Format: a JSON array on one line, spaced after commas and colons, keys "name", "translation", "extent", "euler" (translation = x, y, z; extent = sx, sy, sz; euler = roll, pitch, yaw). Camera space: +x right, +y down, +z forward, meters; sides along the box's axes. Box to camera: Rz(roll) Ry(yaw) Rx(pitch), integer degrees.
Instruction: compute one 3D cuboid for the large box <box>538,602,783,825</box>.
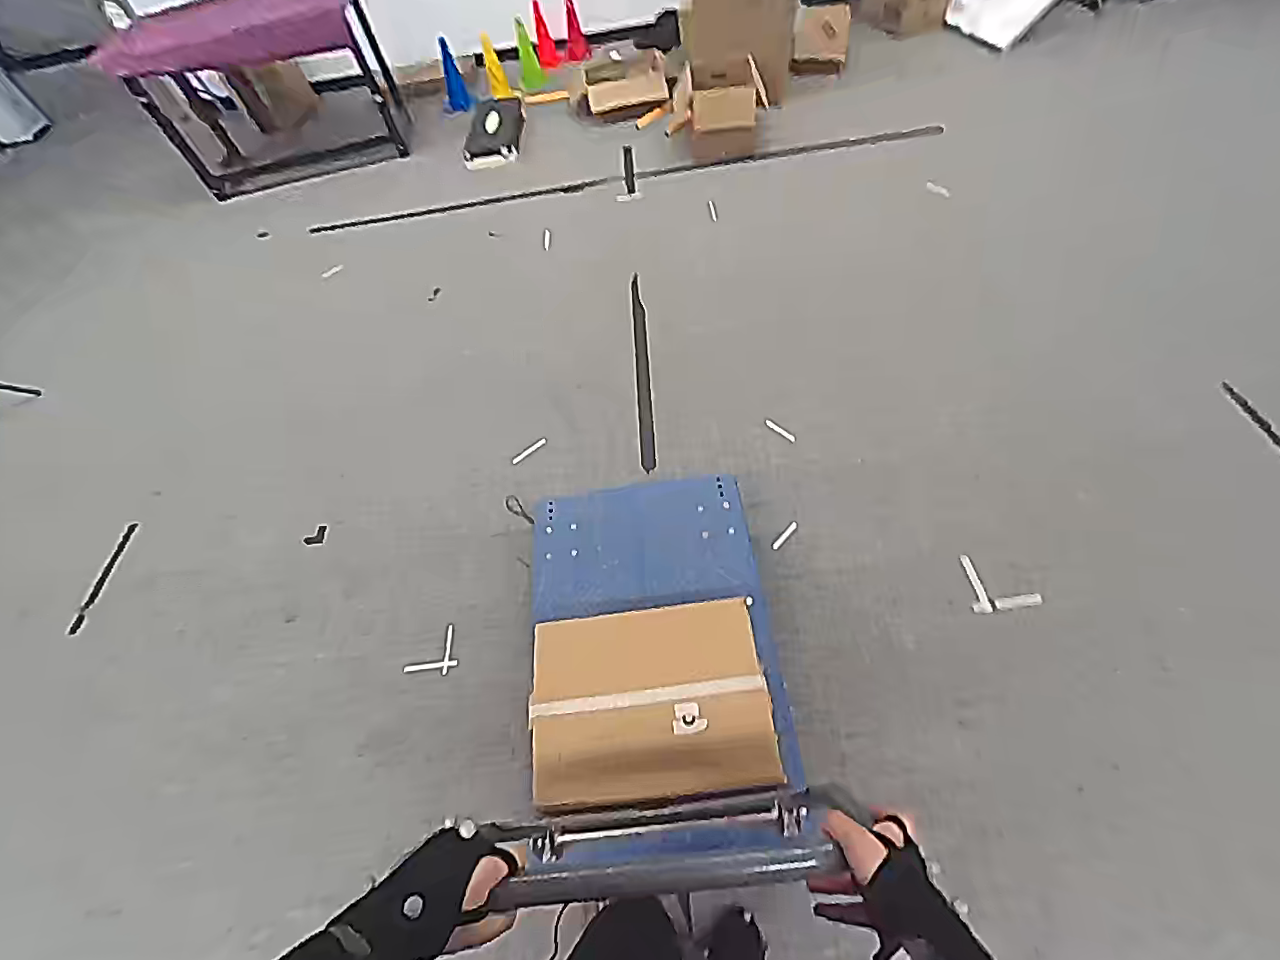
[{"name": "large box", "translation": [0.031, 0.470, 1.066], "extent": [0.408, 0.320, 0.320], "euler": [-8, 56, 2]}]
